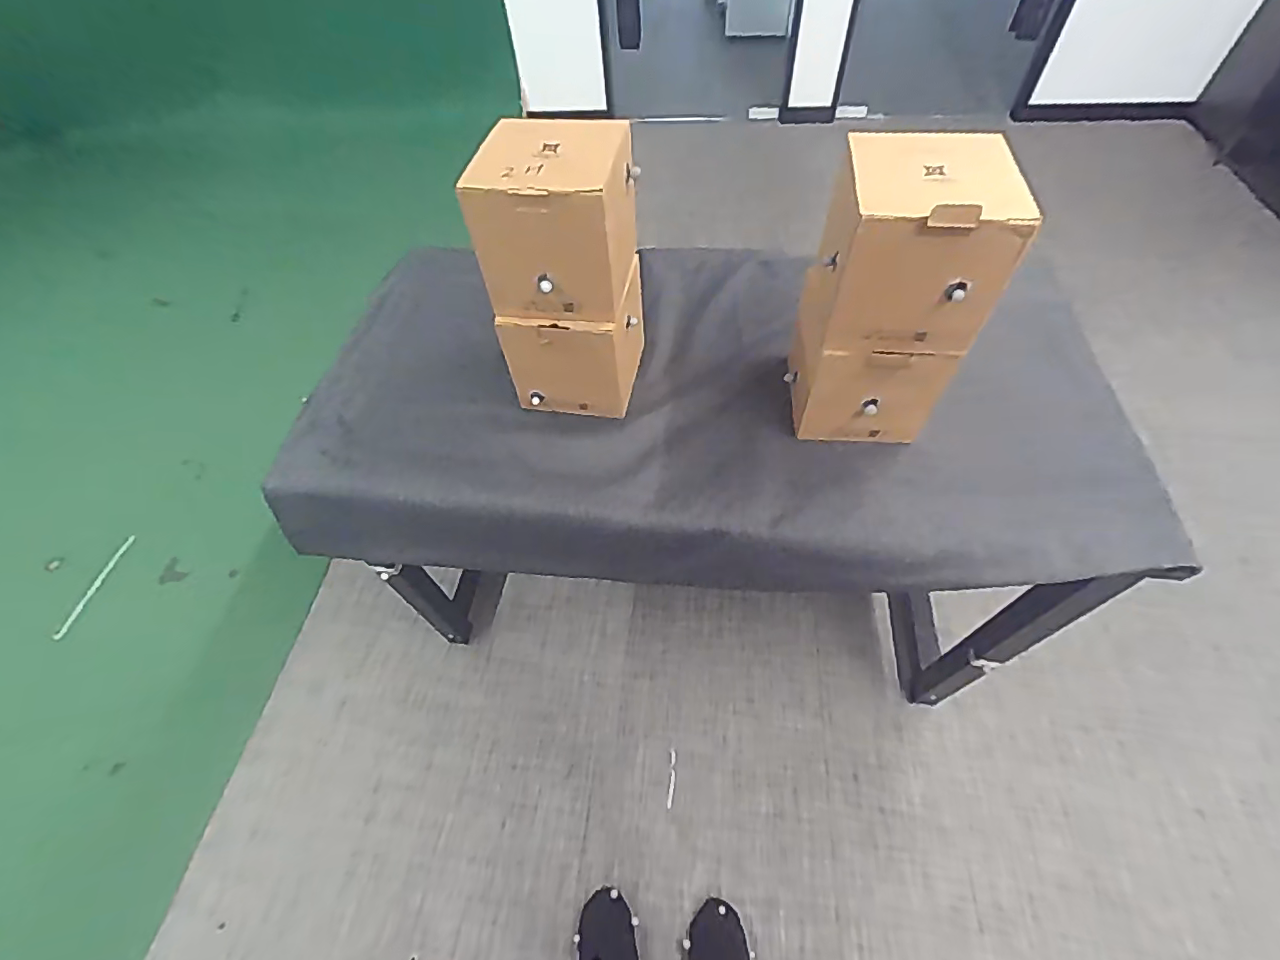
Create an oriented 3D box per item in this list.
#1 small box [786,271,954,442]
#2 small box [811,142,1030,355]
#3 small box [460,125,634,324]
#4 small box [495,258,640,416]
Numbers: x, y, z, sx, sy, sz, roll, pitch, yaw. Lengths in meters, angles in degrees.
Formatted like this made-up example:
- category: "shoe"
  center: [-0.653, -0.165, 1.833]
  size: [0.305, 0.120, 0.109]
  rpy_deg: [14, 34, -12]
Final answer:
- category: "small box"
  center: [0.305, -0.170, 0.760]
  size: [0.168, 0.176, 0.179]
  rpy_deg: [2, 55, 5]
- category: "small box"
  center: [0.301, -0.264, 0.627]
  size: [0.168, 0.176, 0.179]
  rpy_deg: [5, 54, 6]
- category: "small box"
  center: [-0.102, -0.325, 0.692]
  size: [0.168, 0.176, 0.179]
  rpy_deg: [5, 55, 8]
- category: "small box"
  center: [-0.094, -0.216, 0.816]
  size: [0.168, 0.176, 0.179]
  rpy_deg: [7, 54, 8]
